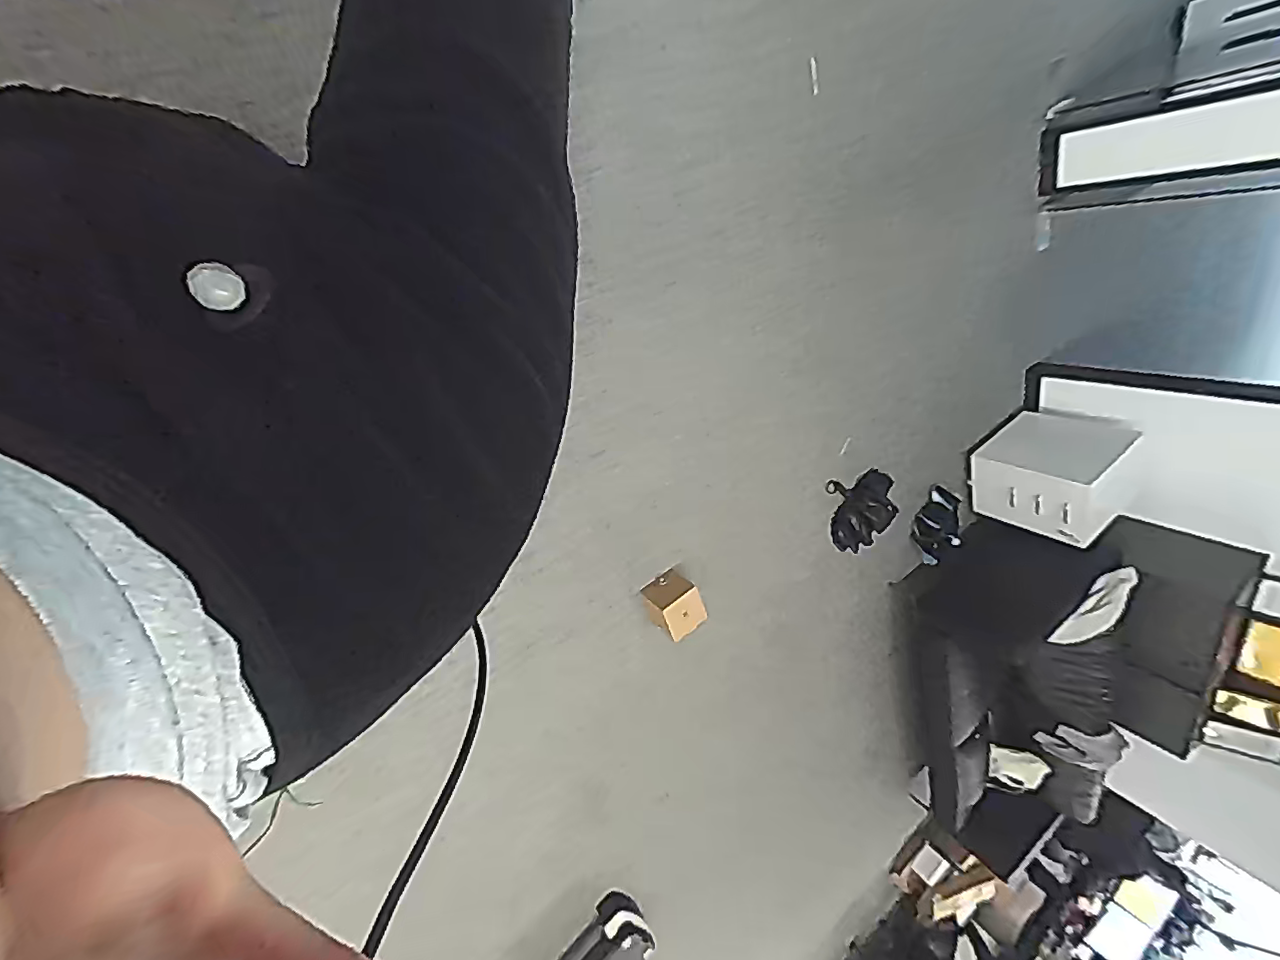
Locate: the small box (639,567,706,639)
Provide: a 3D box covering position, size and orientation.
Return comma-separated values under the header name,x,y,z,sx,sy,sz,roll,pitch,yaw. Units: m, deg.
name,x,y,z,sx,sy,sz,roll,pitch,yaw
small box,0.123,0.466,2.079,0.168,0.176,0.179,-34,121,-20
